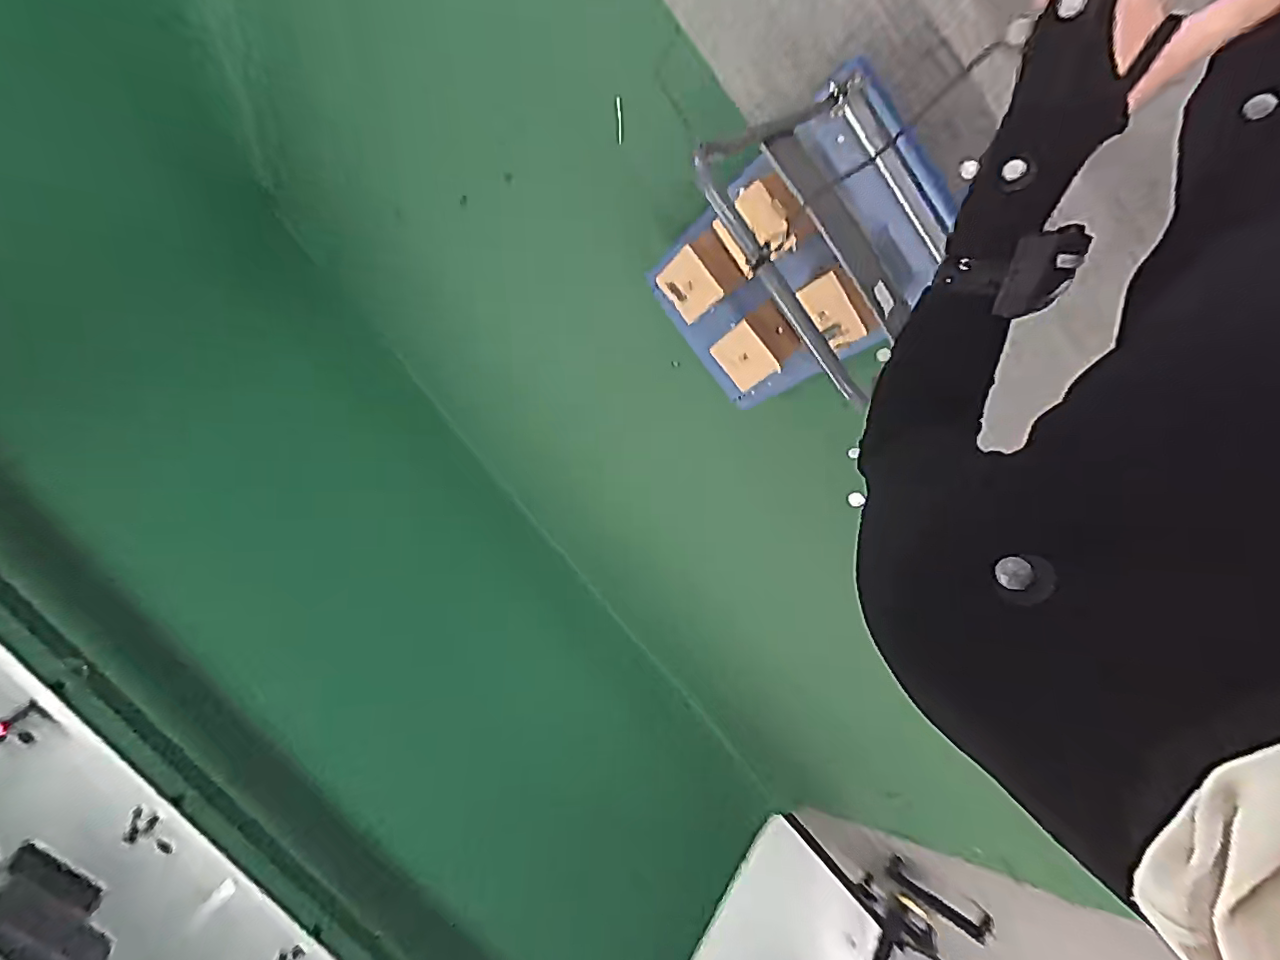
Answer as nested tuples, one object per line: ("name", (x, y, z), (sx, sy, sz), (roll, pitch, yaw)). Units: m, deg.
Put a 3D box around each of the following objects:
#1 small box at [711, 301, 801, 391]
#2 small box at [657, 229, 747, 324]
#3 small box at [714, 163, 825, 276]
("small box", (0.354, -0.401, 1.610), (0.168, 0.176, 0.179), (50, 147, -5))
("small box", (0.189, -0.598, 1.582), (0.168, 0.176, 0.179), (50, 146, -7))
("small box", (0.329, -0.656, 1.364), (0.168, 0.176, 0.179), (52, 146, -9))
